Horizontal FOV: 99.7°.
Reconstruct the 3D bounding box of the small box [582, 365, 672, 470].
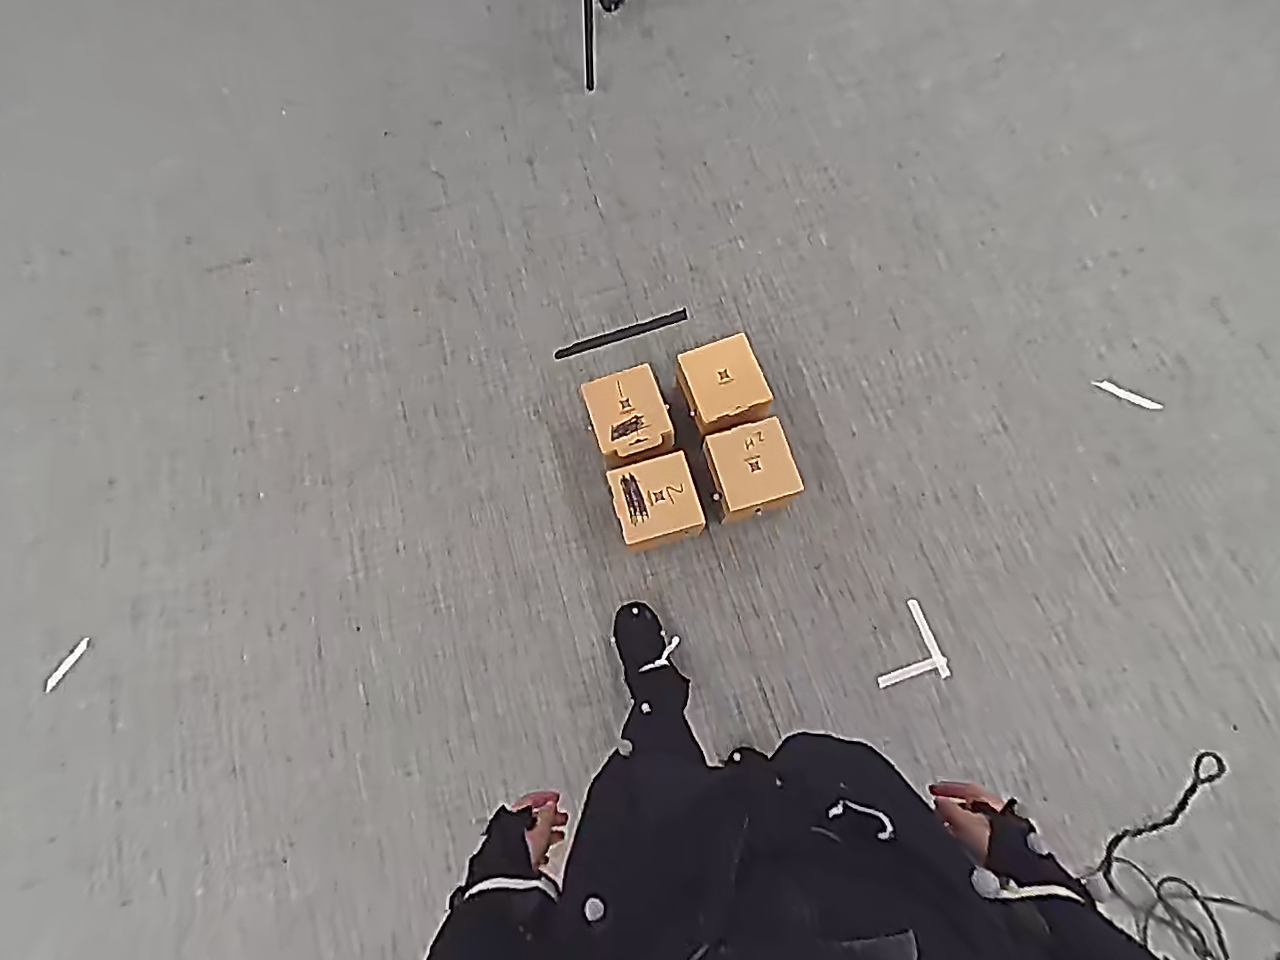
[{"bbox_3d":[-0.025,-0.135,1.267,0.168,0.176,0.179,-18,74,-3],"label":"small box"}]
